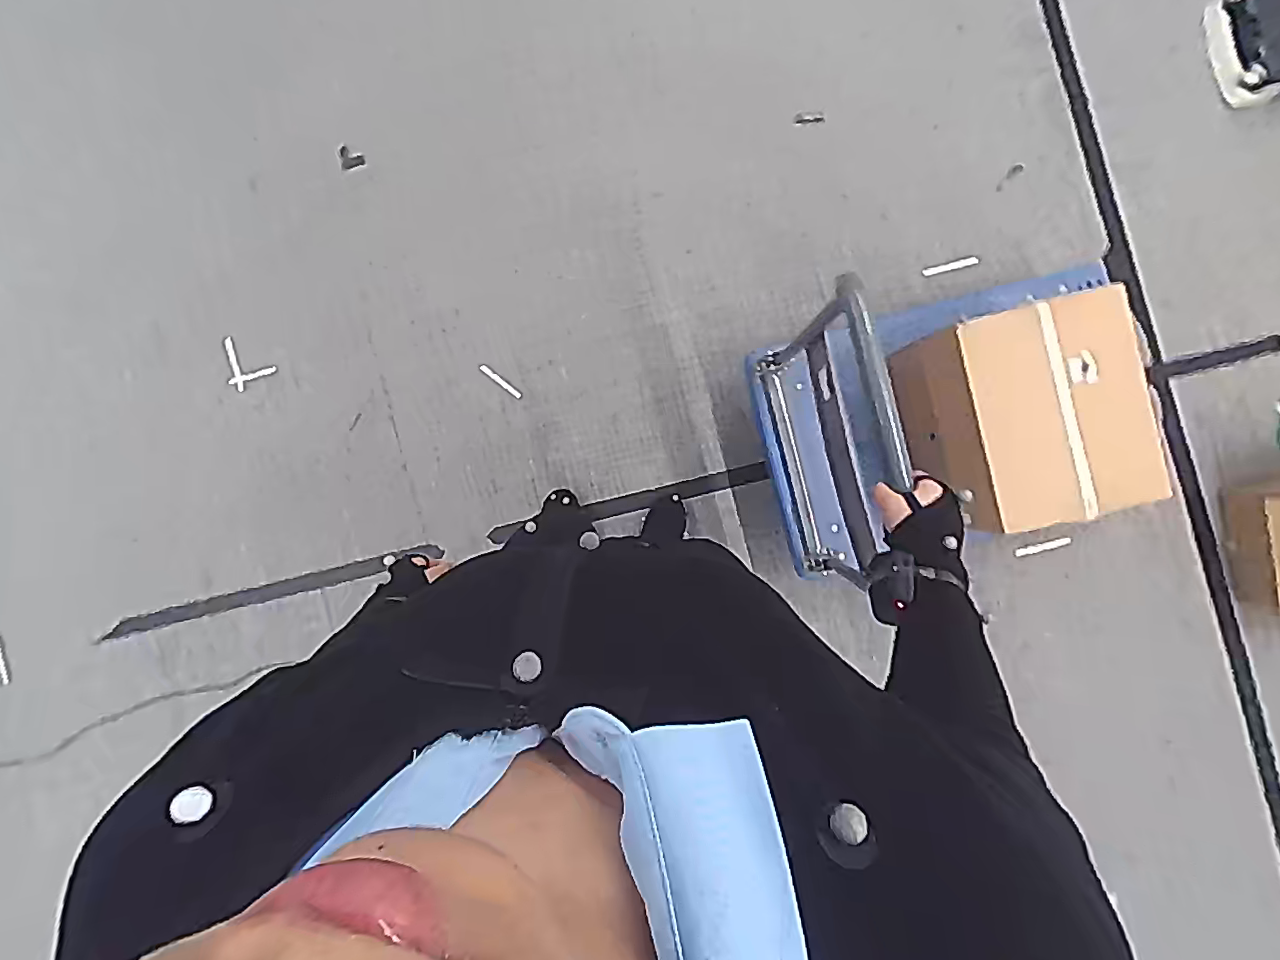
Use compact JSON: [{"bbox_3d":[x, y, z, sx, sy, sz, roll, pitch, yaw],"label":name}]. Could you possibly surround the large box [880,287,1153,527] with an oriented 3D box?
[{"bbox_3d":[0.770,-0.135,1.165,0.320,0.320,0.408,-13,89,0],"label":"large box"}]
